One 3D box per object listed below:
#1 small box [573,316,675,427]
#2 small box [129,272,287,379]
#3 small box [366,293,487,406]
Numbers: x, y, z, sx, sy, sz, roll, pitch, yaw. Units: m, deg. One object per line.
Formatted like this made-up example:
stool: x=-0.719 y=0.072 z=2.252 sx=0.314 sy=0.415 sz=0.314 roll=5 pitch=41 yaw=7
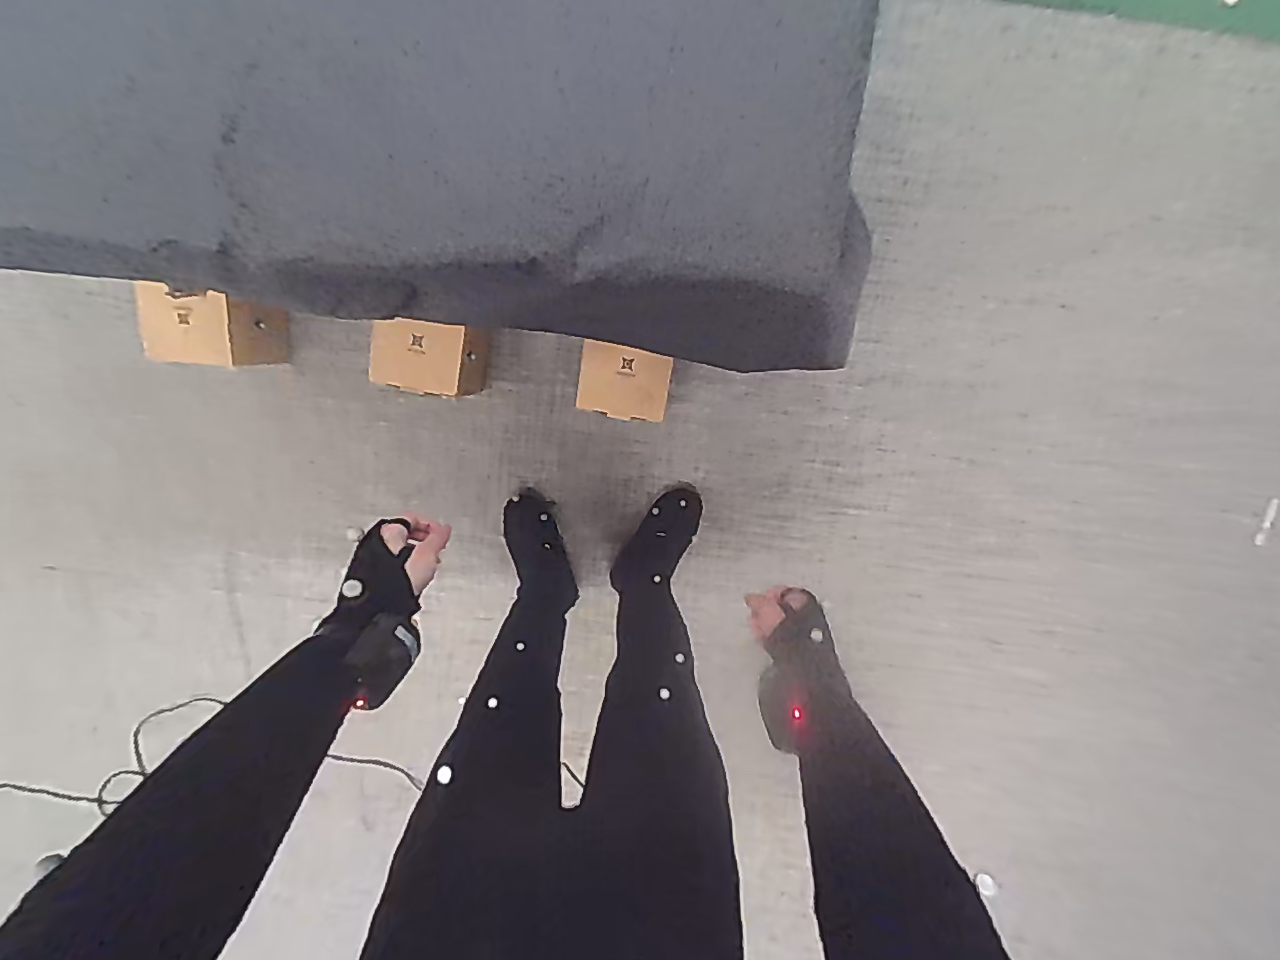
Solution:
small box: x=-0.028 y=-0.210 z=1.049 sx=0.168 sy=0.176 sz=0.179 roll=9 pitch=102 yaw=-1
small box: x=-0.817 y=-0.292 z=1.042 sx=0.168 sy=0.176 sz=0.179 roll=4 pitch=104 yaw=0
small box: x=-0.405 y=-0.249 z=1.047 sx=0.168 sy=0.176 sz=0.179 roll=10 pitch=102 yaw=-3
